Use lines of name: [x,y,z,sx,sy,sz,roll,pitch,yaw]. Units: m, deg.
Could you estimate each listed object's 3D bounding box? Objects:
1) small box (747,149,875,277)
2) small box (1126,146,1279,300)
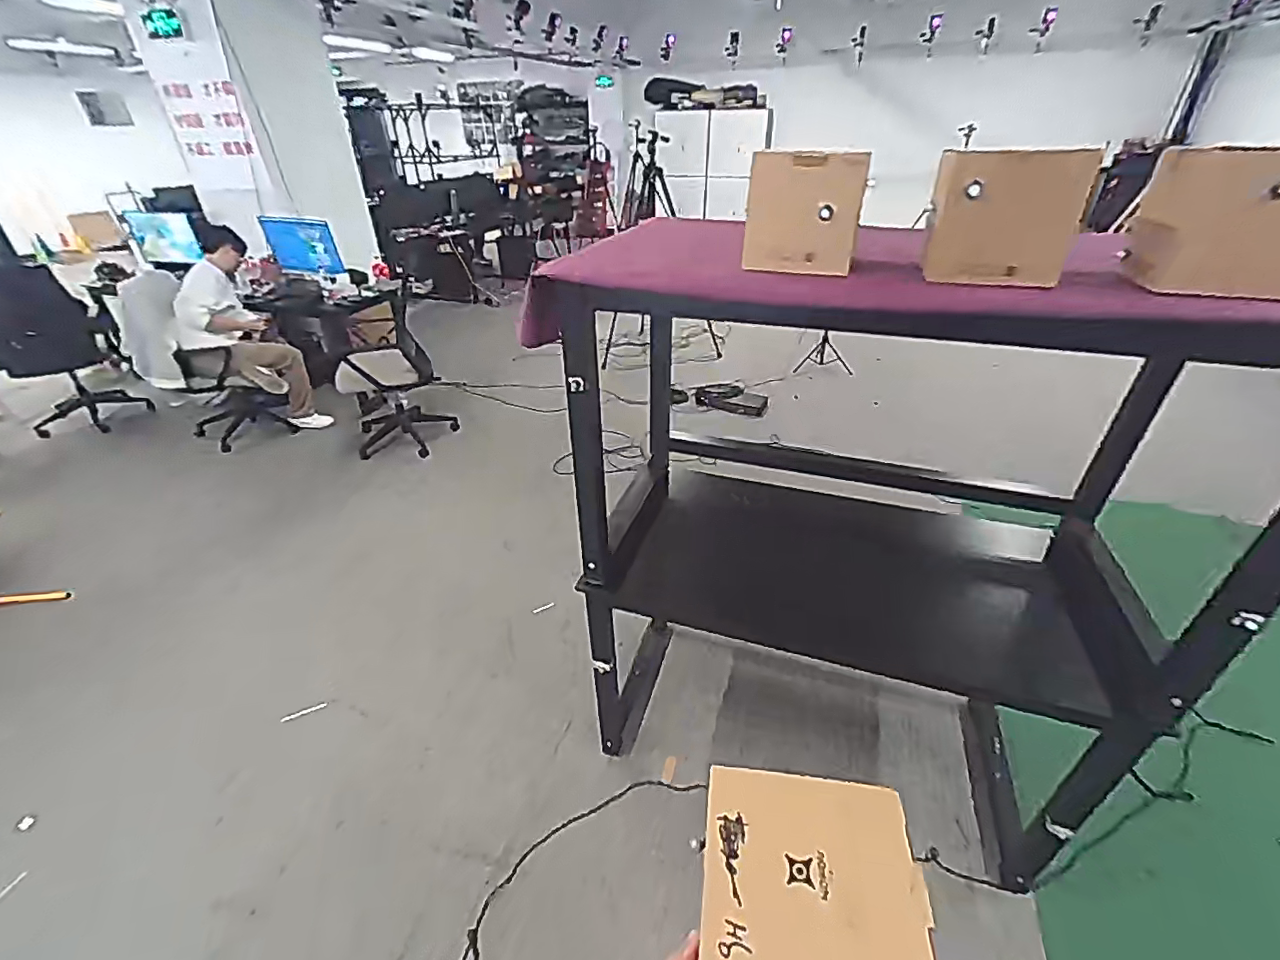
small box: [0.275,-0.435,0.876,0.168,0.176,0.179,12,33,18]
small box: [0.795,-0.342,0.715,0.179,0.176,0.168,11,33,17]
